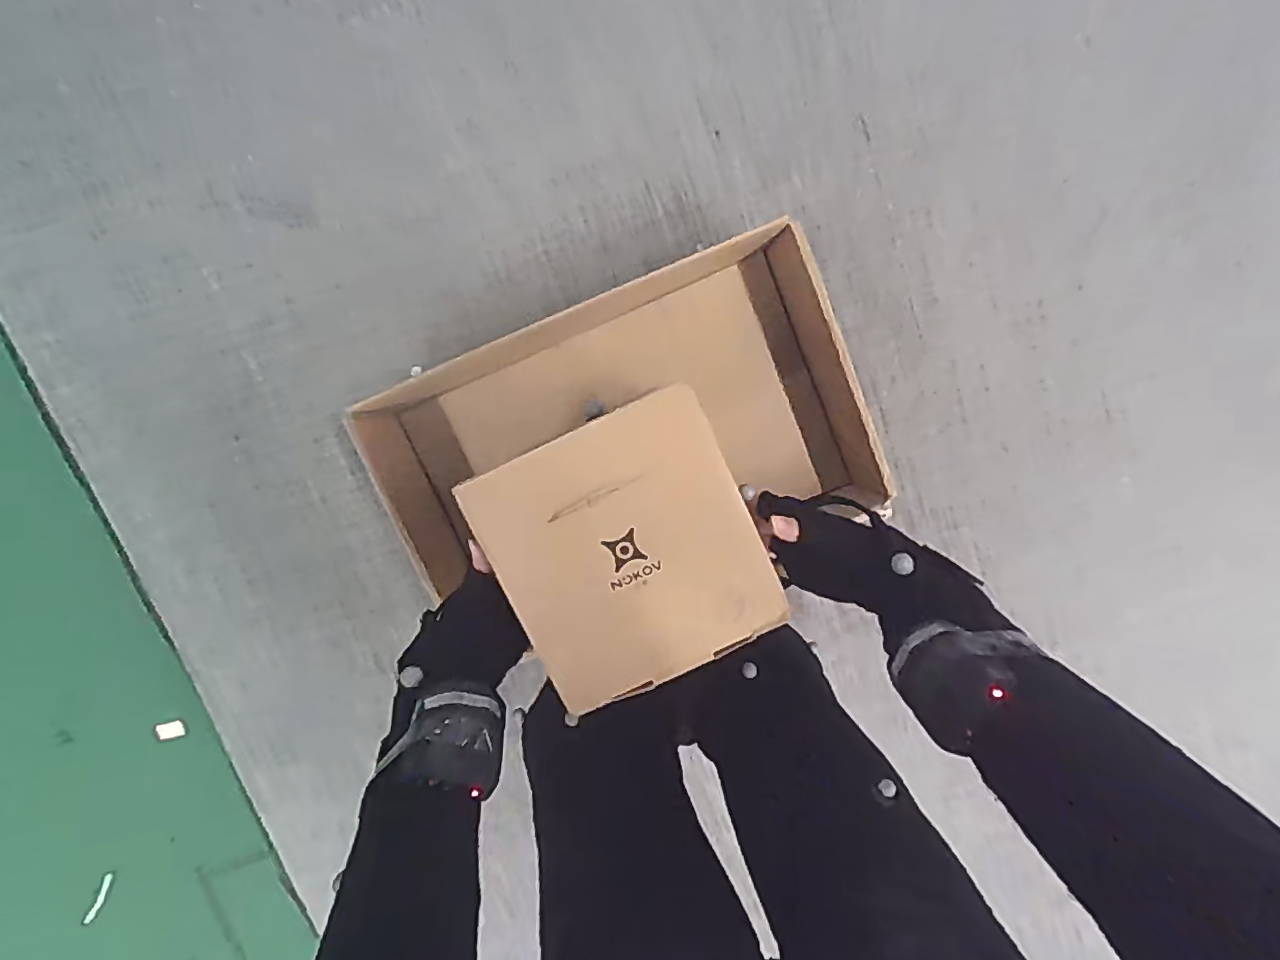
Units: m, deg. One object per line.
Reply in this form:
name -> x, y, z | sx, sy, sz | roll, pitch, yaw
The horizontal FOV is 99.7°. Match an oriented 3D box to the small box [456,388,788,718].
small box -> -0.010, 0.041, 0.429 | 0.168, 0.176, 0.179 | -26, 96, 2
